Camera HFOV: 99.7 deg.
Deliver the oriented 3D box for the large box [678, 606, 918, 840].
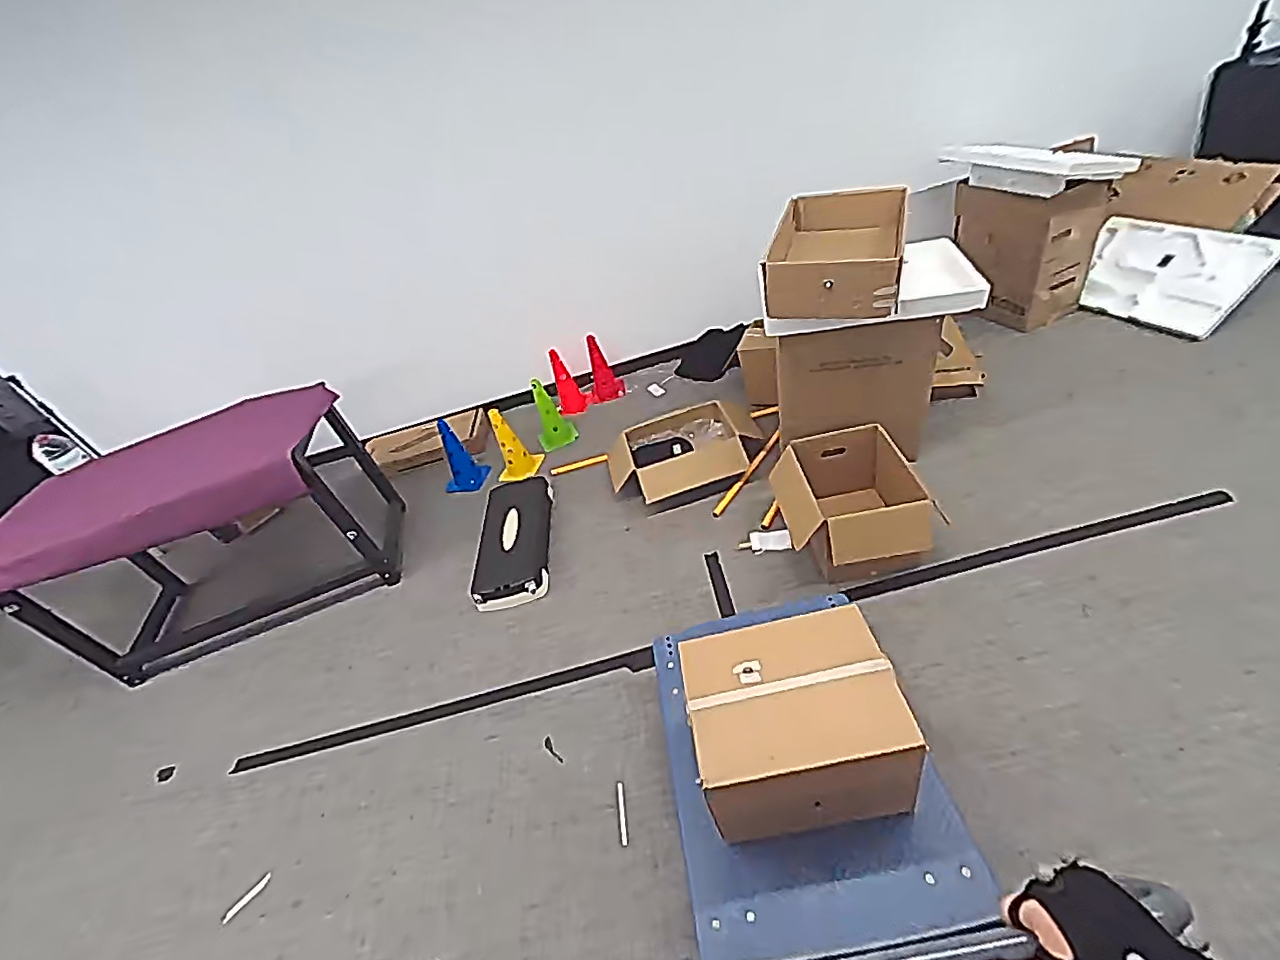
[{"bbox_3d":[0.331,0.534,1.186,0.408,0.320,0.320,-15,37,5],"label":"large box"}]
